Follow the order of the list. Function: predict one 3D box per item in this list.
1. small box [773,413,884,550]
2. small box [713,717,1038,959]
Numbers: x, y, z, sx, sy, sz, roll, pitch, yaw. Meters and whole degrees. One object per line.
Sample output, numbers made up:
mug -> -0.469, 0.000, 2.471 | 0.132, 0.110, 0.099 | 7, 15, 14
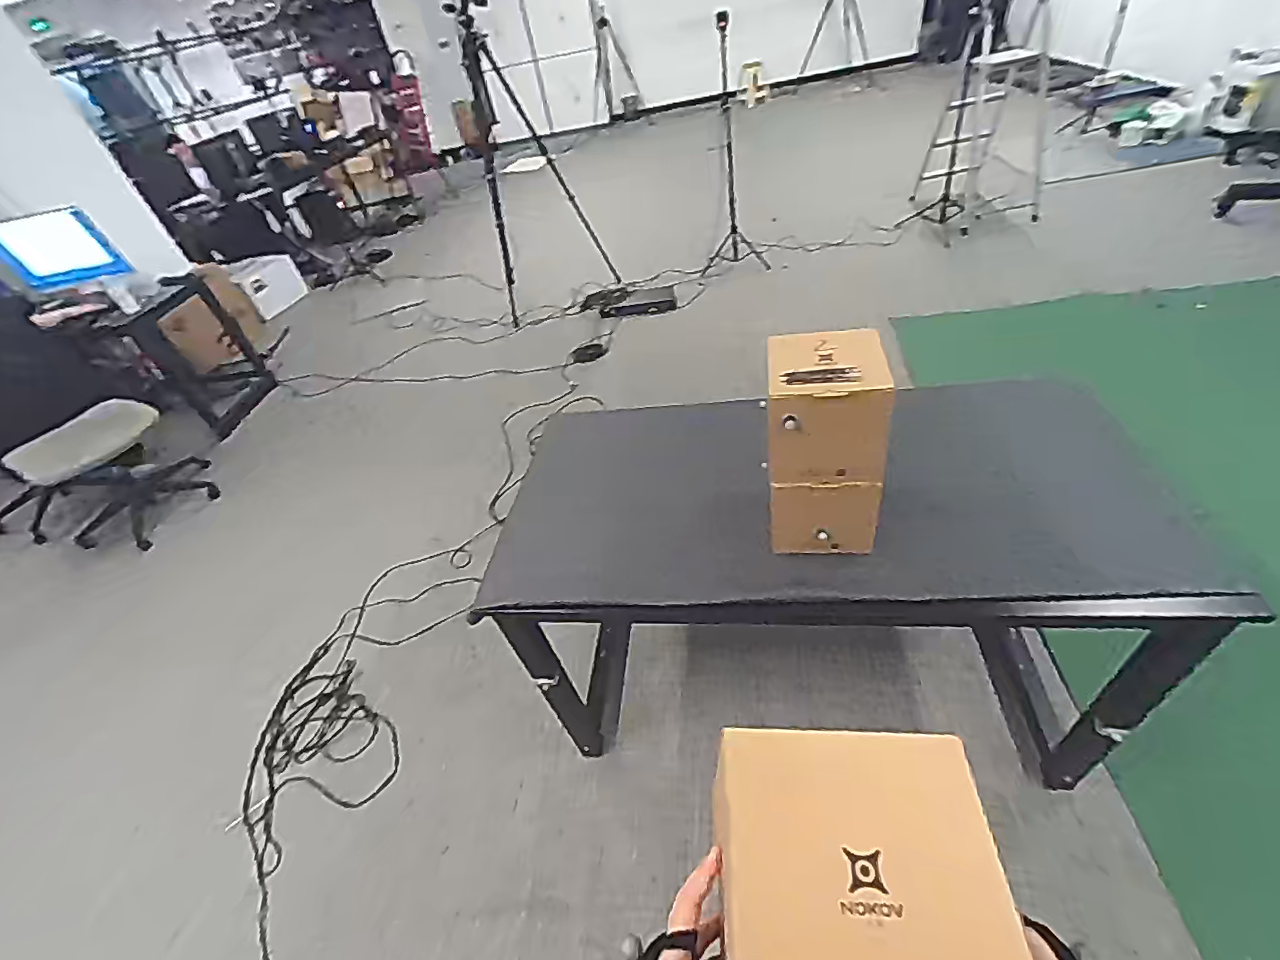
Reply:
small box -> 0.319, 0.003, 0.951 | 0.168, 0.176, 0.179 | -2, 42, 14
small box -> 0.141, 0.290, 0.385 | 0.168, 0.176, 0.179 | -2, 46, 4
